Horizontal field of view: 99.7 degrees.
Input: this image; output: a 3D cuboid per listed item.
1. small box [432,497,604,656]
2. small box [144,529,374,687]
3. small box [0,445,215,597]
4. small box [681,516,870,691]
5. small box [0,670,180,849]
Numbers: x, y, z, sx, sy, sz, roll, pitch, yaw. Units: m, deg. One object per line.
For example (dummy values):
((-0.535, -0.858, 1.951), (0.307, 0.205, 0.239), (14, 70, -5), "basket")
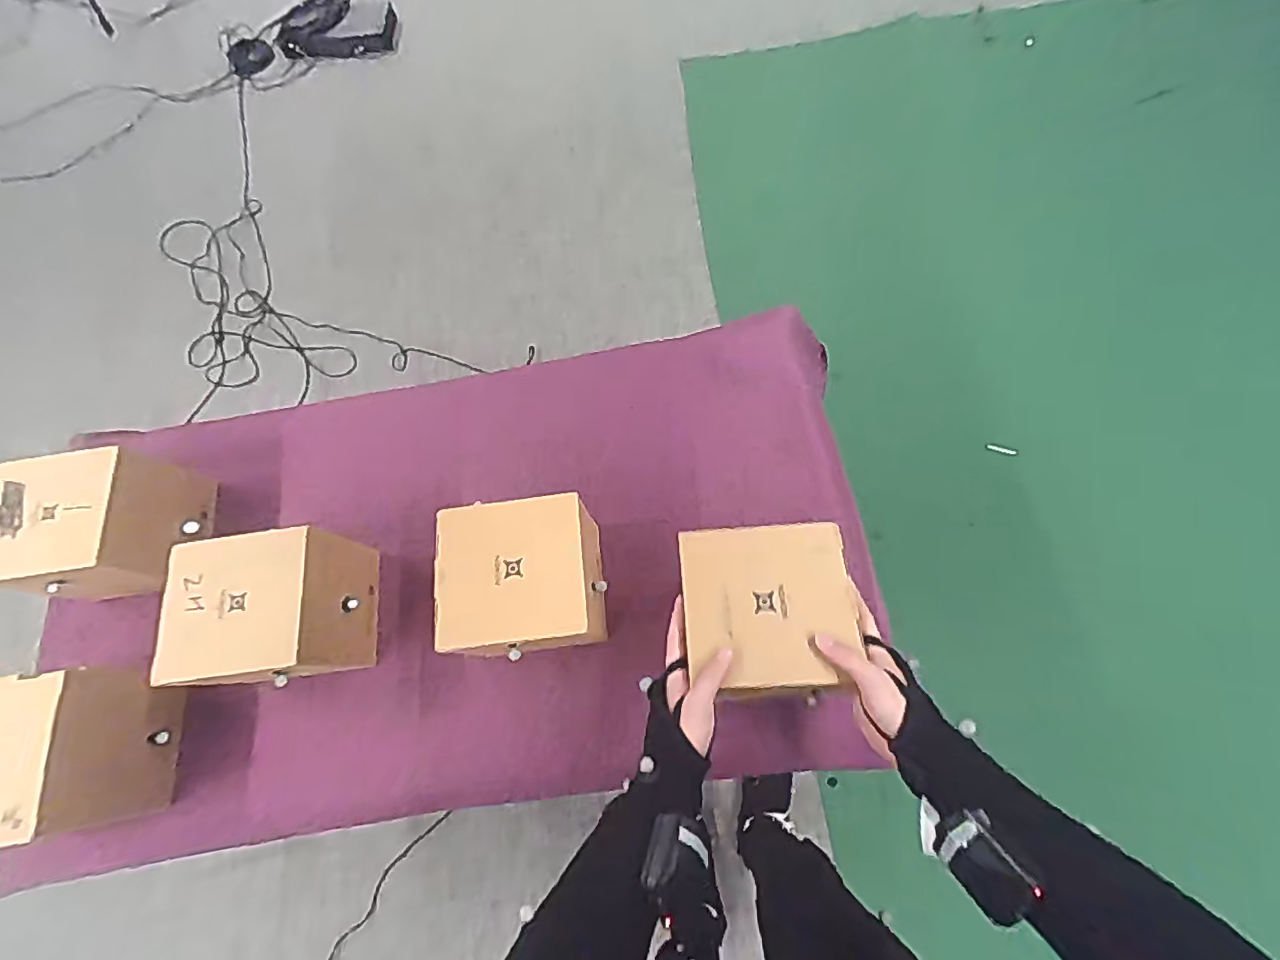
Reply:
((-0.143, 0.129, 0.688), (0.179, 0.176, 0.168), (-8, 71, 4), "small box")
((-0.470, 0.169, 0.700), (0.179, 0.176, 0.168), (-8, 71, 2), "small box")
((-0.756, 0.066, 0.760), (0.179, 0.176, 0.168), (-8, 72, 1), "small box")
((0.139, 0.149, 0.624), (0.179, 0.176, 0.168), (-4, 65, 5), "small box")
((-0.720, 0.338, 0.664), (0.168, 0.176, 0.179), (-10, 69, 2), "small box")
